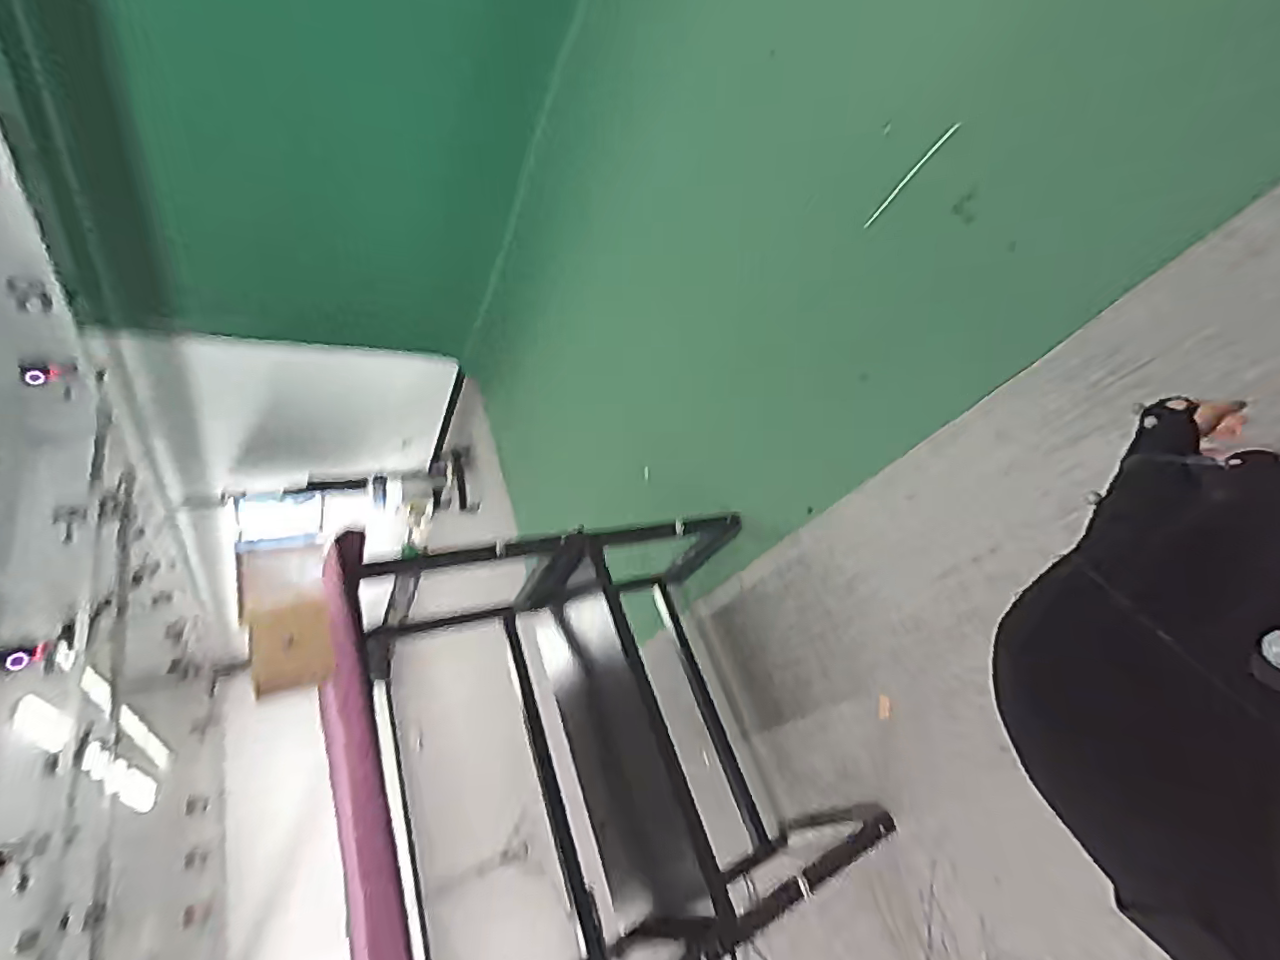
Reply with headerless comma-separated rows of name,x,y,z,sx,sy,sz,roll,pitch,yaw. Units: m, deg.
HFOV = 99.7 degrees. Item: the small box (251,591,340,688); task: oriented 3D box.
small box,-0.857,0.389,1.344,0.168,0.176,0.179,-50,54,46
